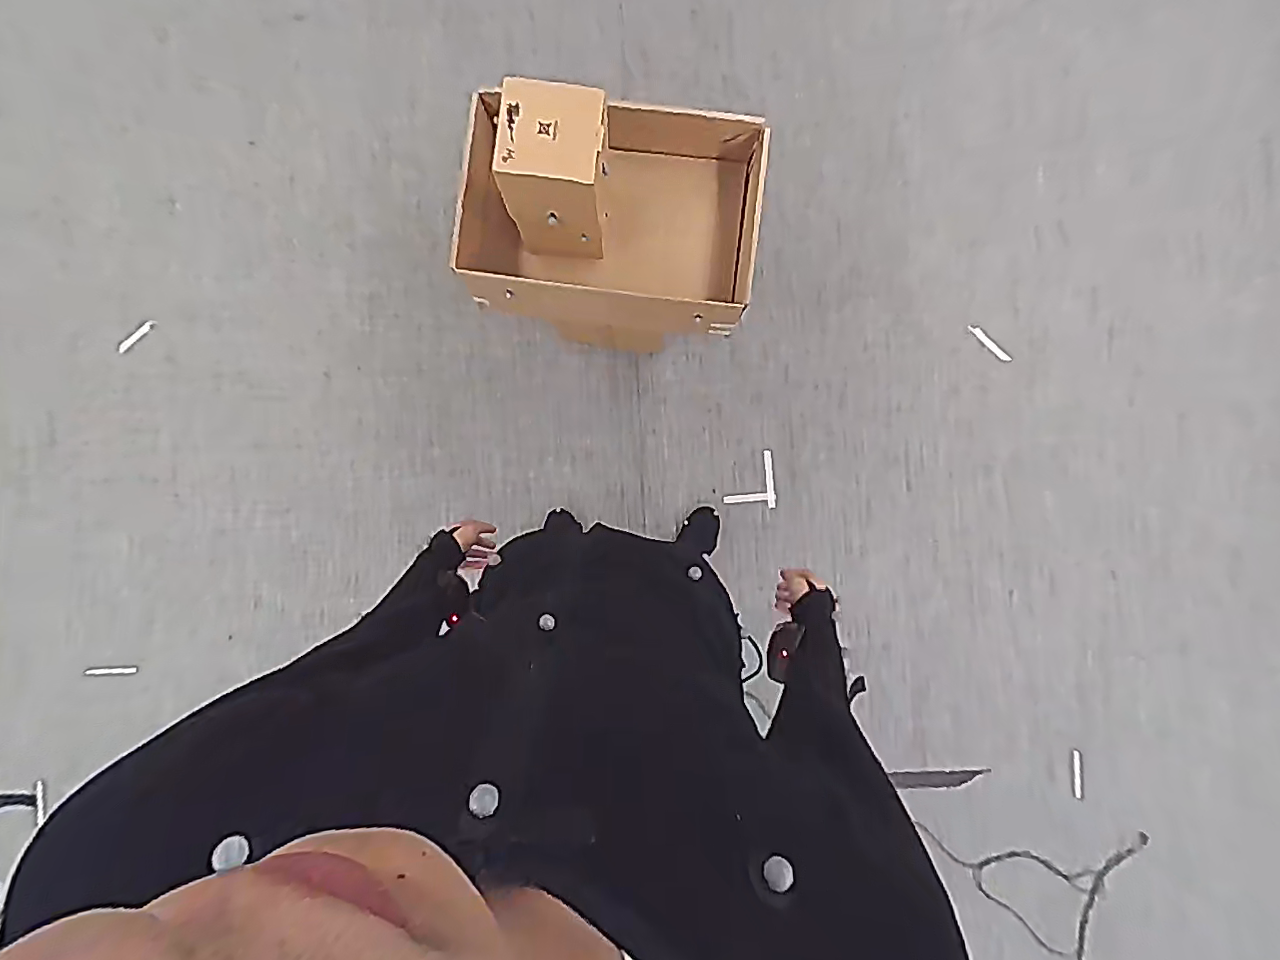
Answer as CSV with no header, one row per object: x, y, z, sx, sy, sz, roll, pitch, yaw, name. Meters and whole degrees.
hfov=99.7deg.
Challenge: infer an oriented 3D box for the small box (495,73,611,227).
-0.149,-0.588,0.987,0.179,0.176,0.168,8,88,-2,small box
